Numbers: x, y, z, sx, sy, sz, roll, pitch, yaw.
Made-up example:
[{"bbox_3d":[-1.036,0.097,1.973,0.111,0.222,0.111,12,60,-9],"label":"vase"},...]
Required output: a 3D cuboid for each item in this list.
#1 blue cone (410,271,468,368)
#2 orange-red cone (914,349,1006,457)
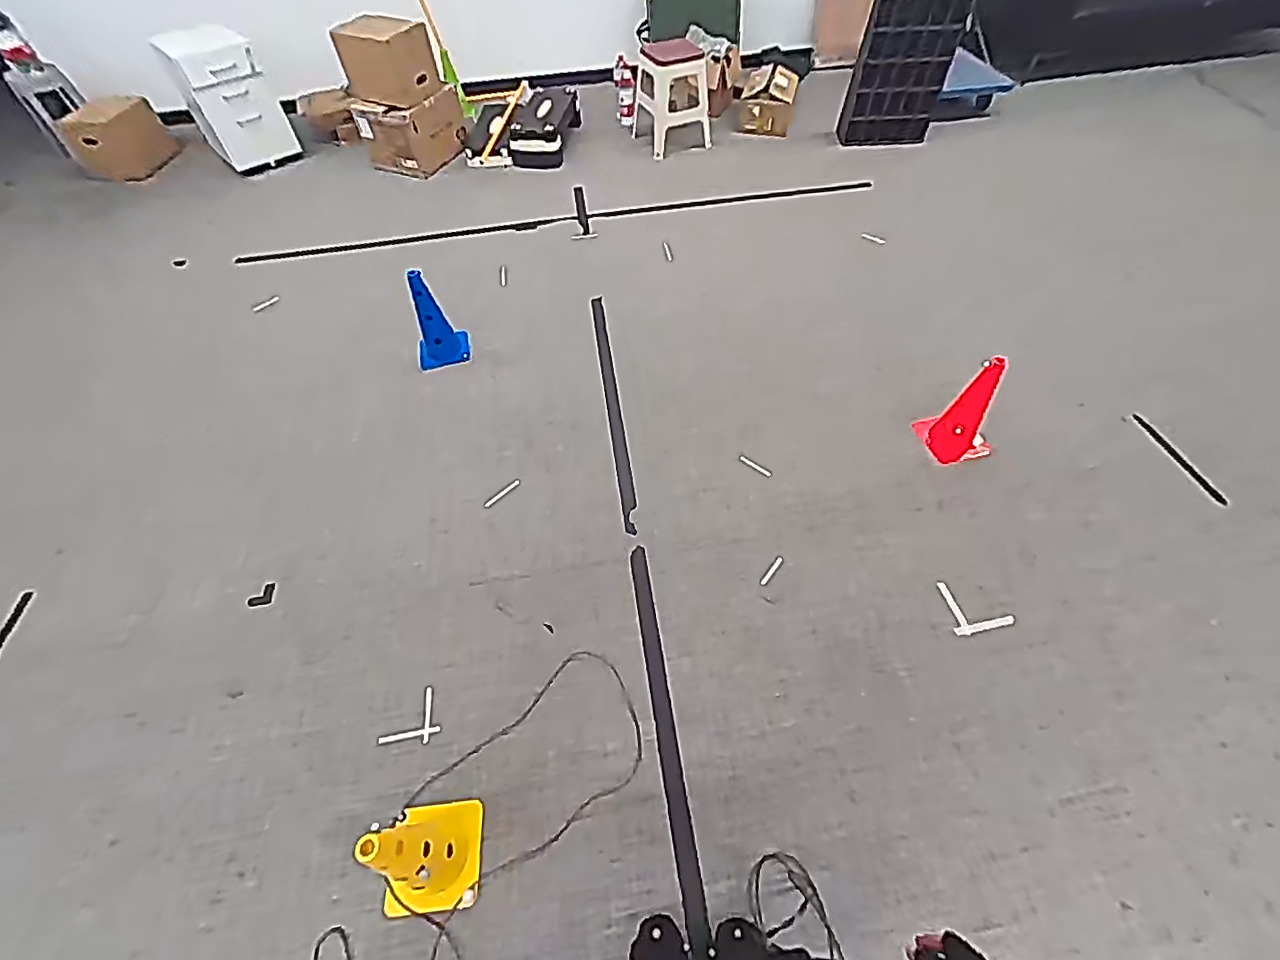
[{"bbox_3d":[-0.820,-0.636,2.110,0.192,0.380,0.193,-13,54,-7],"label":"blue cone"},{"bbox_3d":[1.065,-0.268,1.731,0.198,0.360,0.199,-12,52,-7],"label":"orange-red cone"}]
